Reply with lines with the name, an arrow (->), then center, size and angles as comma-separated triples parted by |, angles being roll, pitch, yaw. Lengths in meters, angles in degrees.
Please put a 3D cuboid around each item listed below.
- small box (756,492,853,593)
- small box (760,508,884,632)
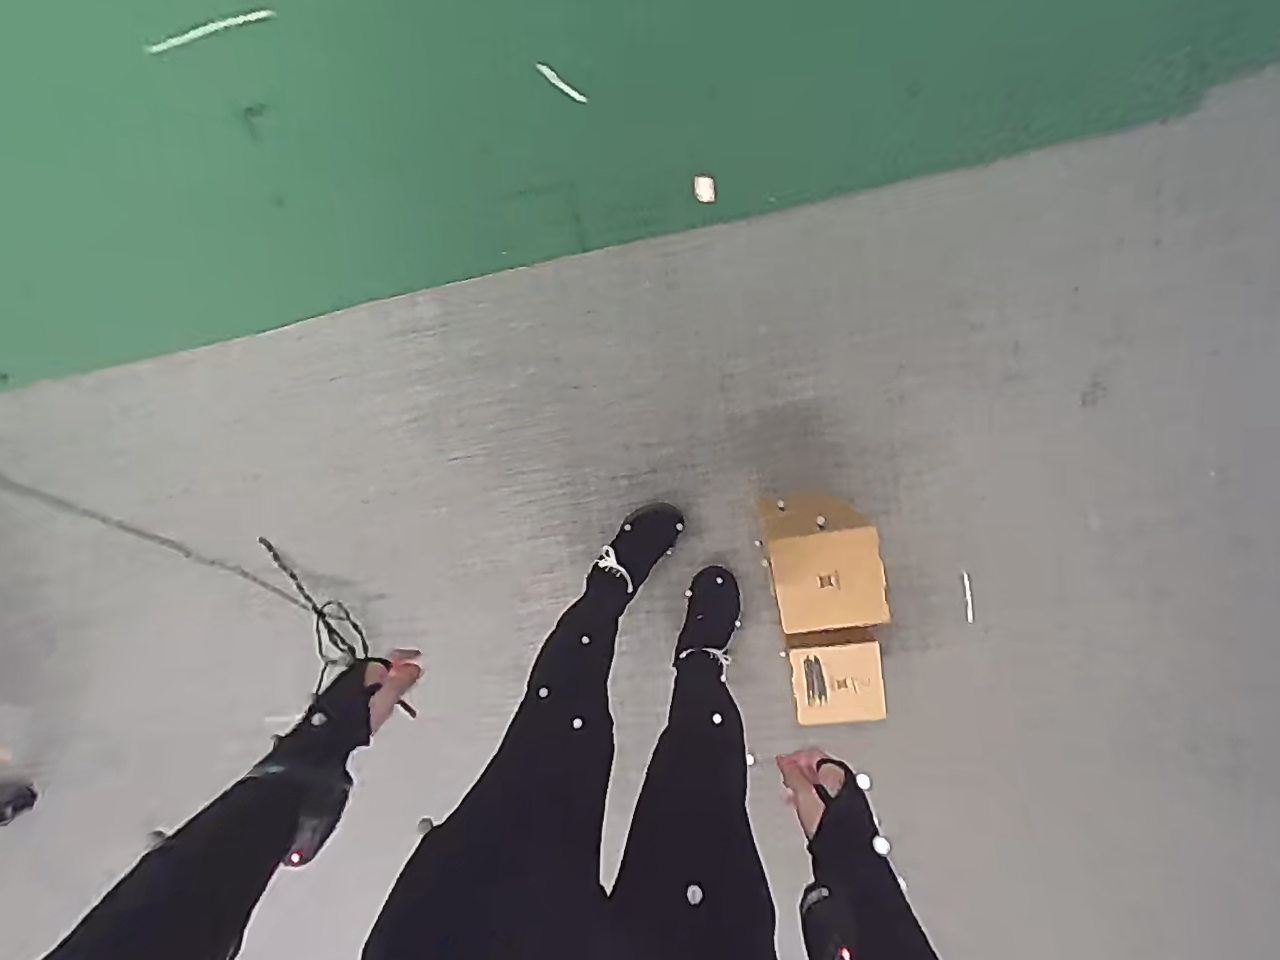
small box -> 0.332, 0.124, 1.109 | 0.179, 0.176, 0.168 | -5, 99, 9
small box -> 0.309, 0.151, 0.951 | 0.179, 0.176, 0.168 | -8, 98, 9
